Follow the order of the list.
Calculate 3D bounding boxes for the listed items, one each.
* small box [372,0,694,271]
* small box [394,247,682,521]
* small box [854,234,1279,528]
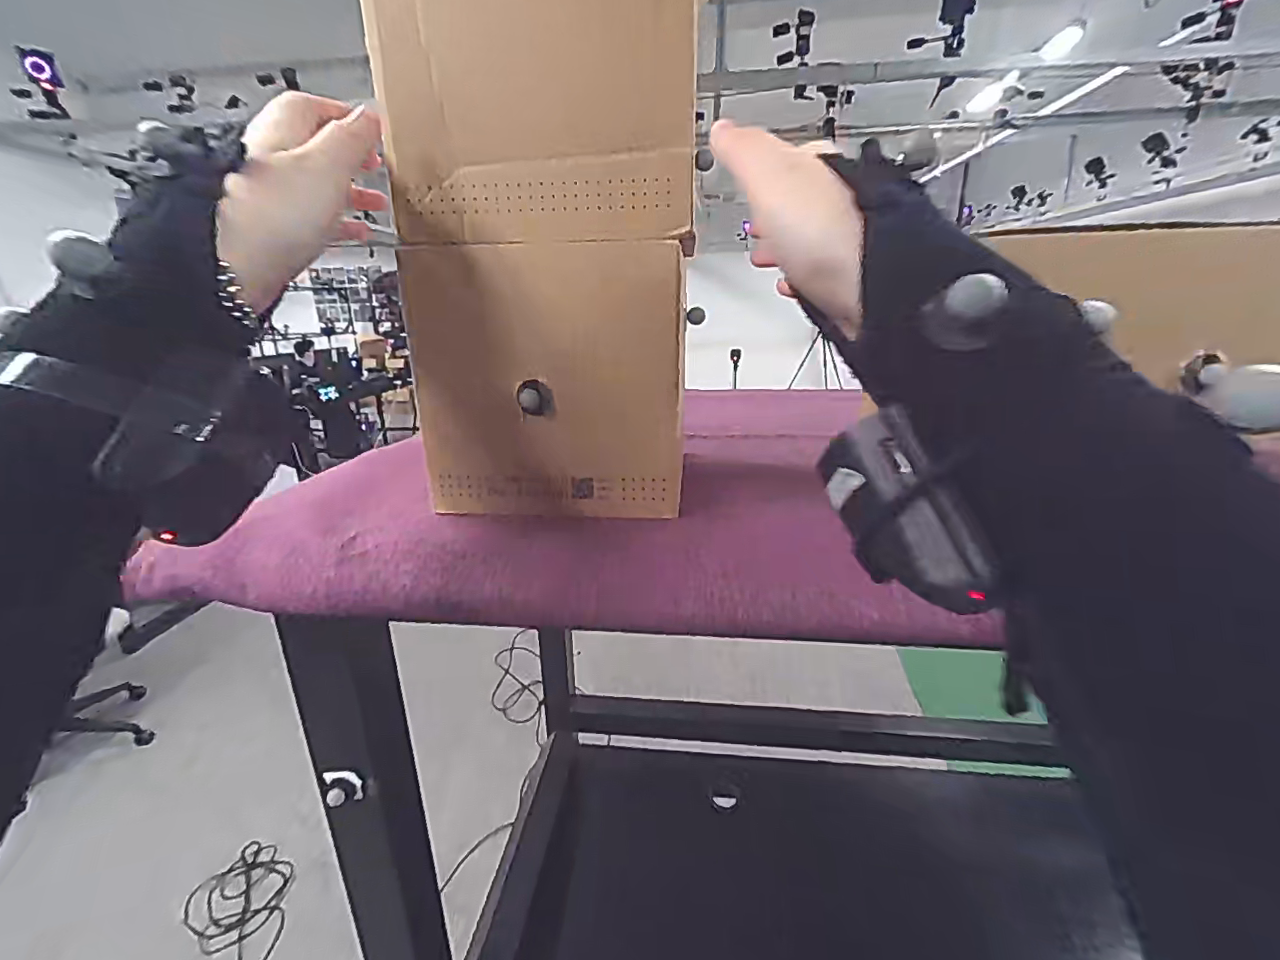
[{"bbox_3d":[-0.054,-0.230,0.358,0.179,0.176,0.168,1,19,4],"label":"small box"},{"bbox_3d":[-0.053,-0.076,0.408,0.168,0.176,0.179,2,18,5],"label":"small box"},{"bbox_3d":[0.268,-0.070,0.382,0.179,0.176,0.168,0,17,6],"label":"small box"}]
